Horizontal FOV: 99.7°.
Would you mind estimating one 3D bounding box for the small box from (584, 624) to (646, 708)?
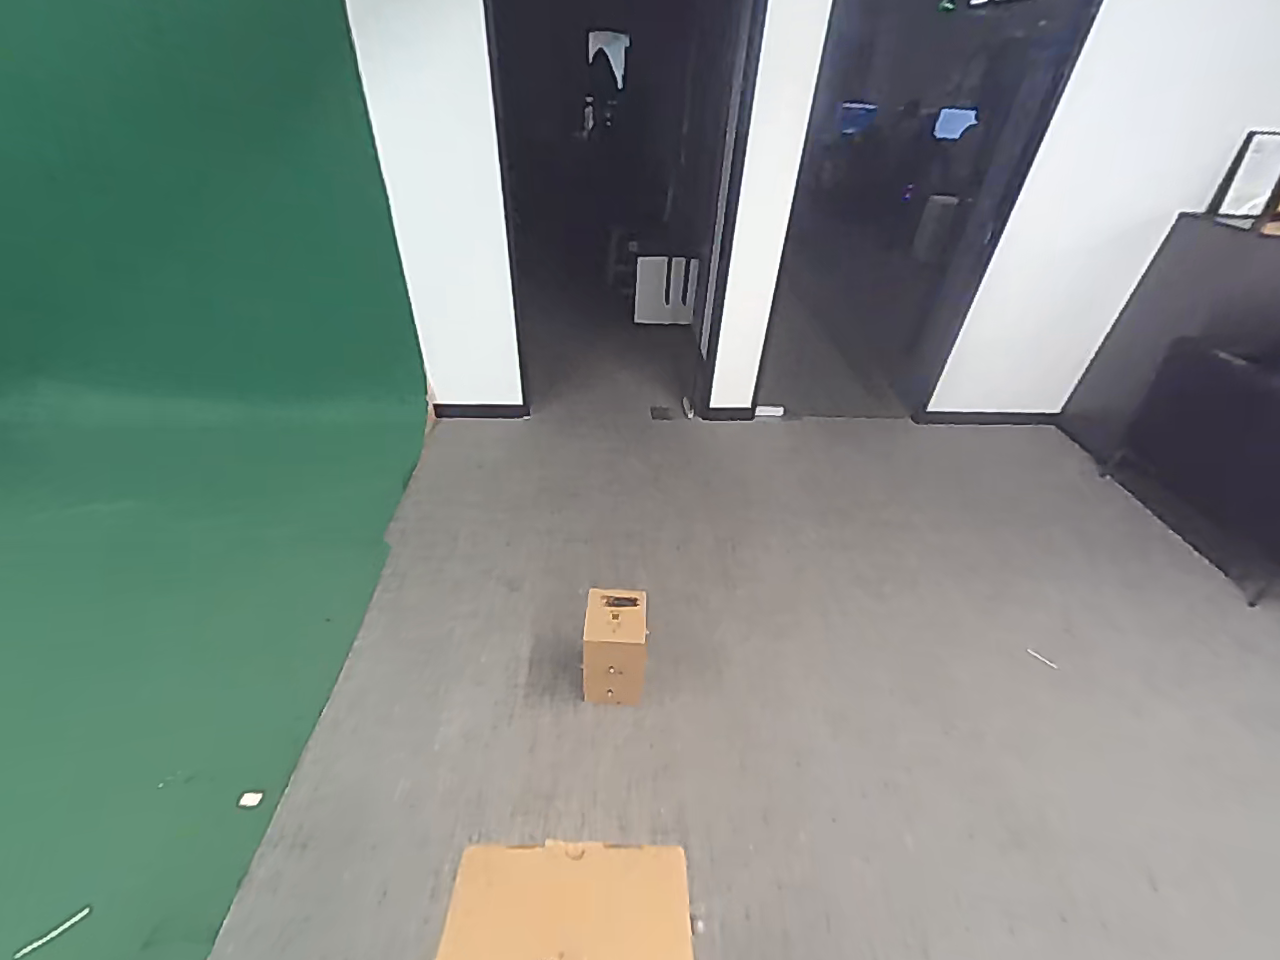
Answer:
[{"bbox_3d":[-0.073,0.562,1.628,0.168,0.176,0.179,5,38,2],"label":"small box"}]

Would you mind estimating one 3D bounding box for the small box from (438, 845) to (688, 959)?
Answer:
[{"bbox_3d":[-0.051,0.390,0.372,0.168,0.176,0.179,2,27,-2],"label":"small box"}]
